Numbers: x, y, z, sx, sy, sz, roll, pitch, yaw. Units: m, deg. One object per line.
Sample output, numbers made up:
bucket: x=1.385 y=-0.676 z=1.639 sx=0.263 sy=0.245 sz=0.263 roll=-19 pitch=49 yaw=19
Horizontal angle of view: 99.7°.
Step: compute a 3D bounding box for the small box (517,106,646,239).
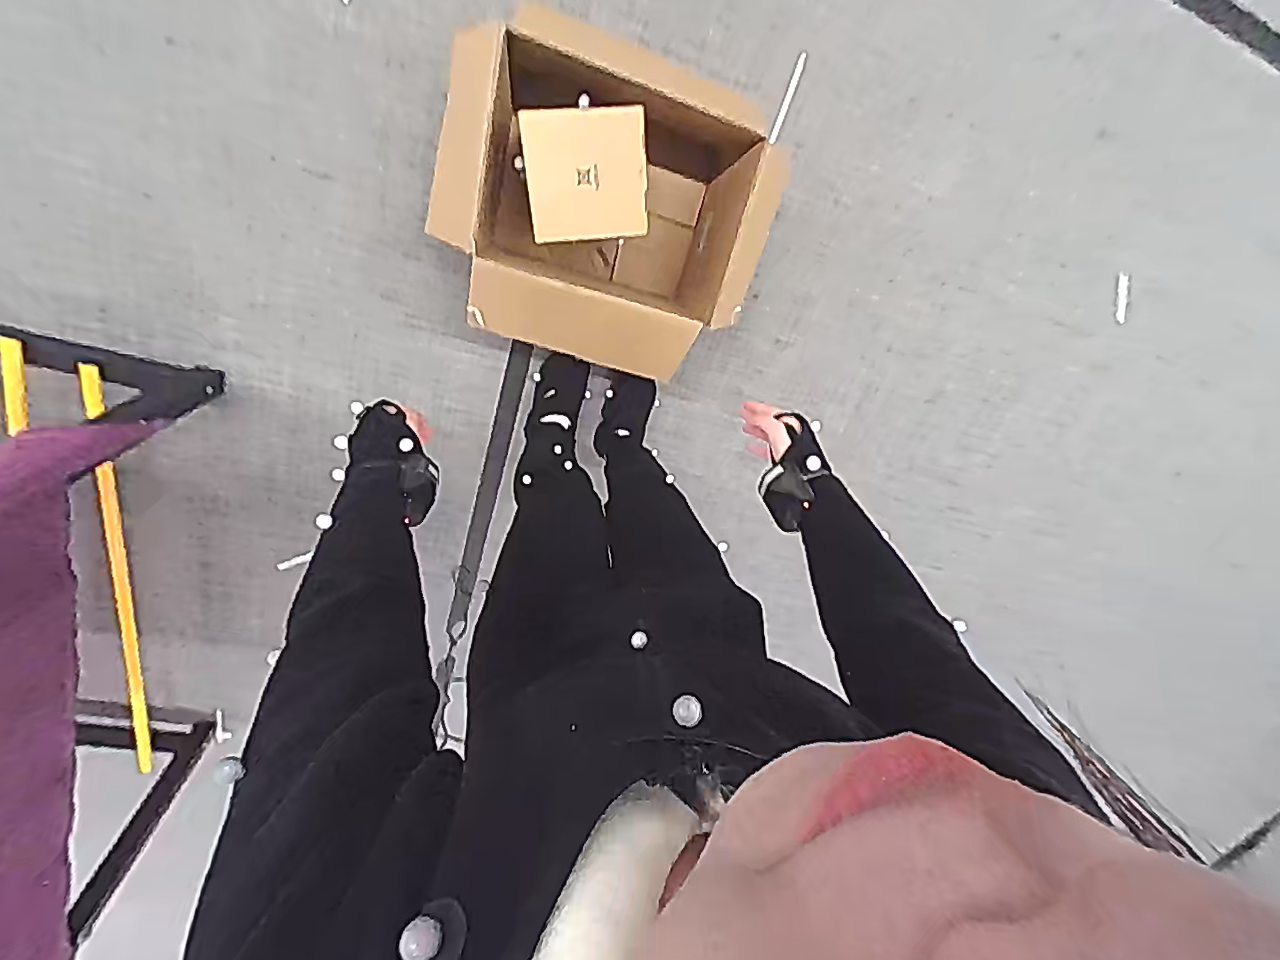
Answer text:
small box: x=-0.094 y=-0.481 z=0.853 sx=0.179 sy=0.176 sz=0.168 roll=-8 pitch=121 yaw=-8
